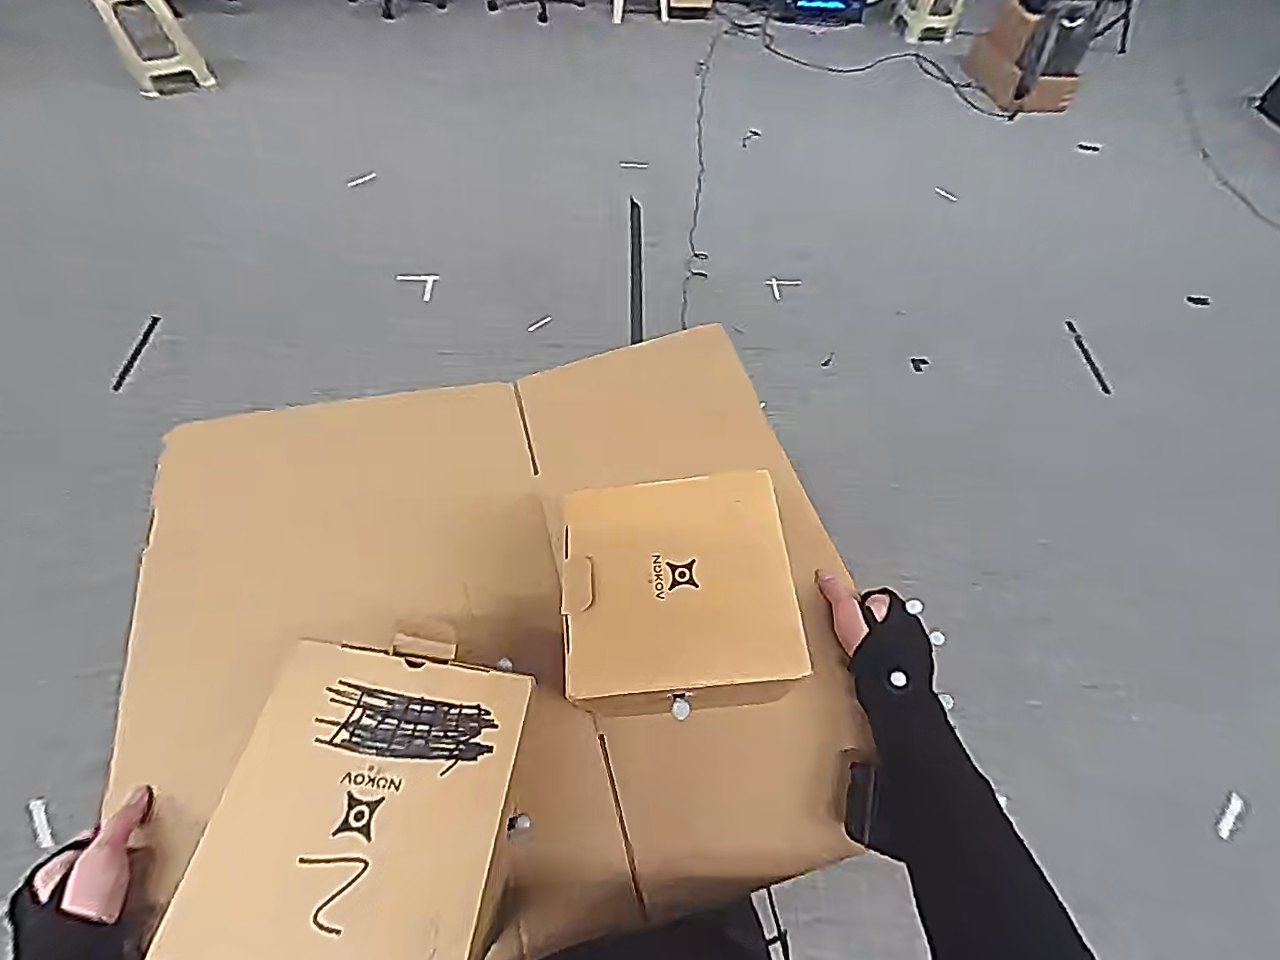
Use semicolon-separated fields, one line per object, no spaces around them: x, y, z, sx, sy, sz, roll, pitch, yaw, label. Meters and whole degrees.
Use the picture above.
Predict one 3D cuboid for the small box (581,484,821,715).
0.047;0.119;0.498;0.179;0.176;0.168;-6;62;4;small box
